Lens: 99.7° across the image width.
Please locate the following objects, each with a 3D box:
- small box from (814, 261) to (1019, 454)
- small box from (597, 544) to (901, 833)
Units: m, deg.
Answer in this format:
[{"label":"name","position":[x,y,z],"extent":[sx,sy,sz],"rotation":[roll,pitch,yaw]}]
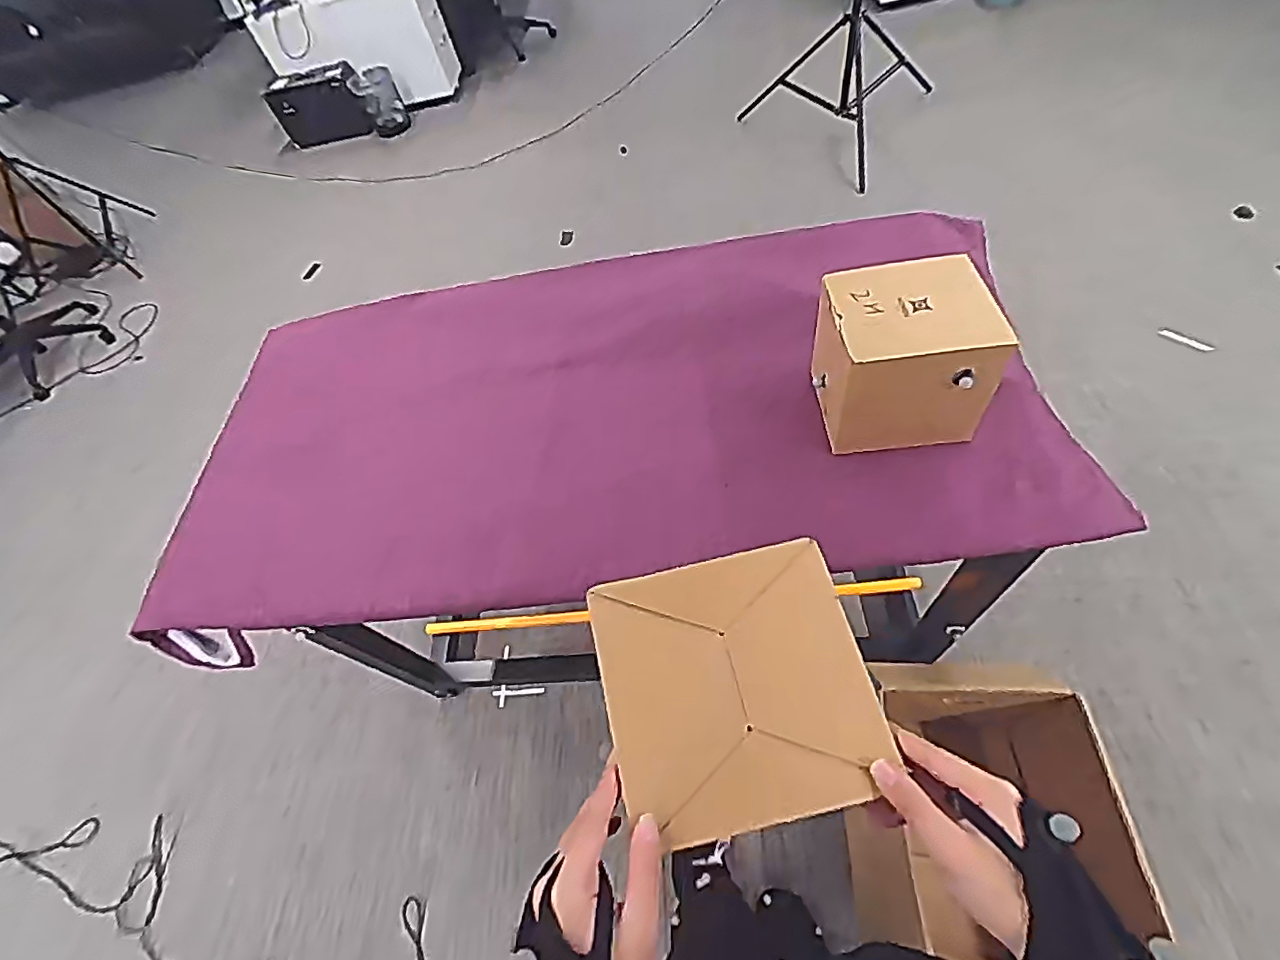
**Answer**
[{"label":"small box","position":[0.334,-0.151,0.698],"extent":[0.179,0.176,0.168],"rotation":[-5,54,8]},{"label":"small box","position":[0.067,0.165,0.434],"extent":[0.179,0.176,0.168],"rotation":[-12,63,-5]}]
